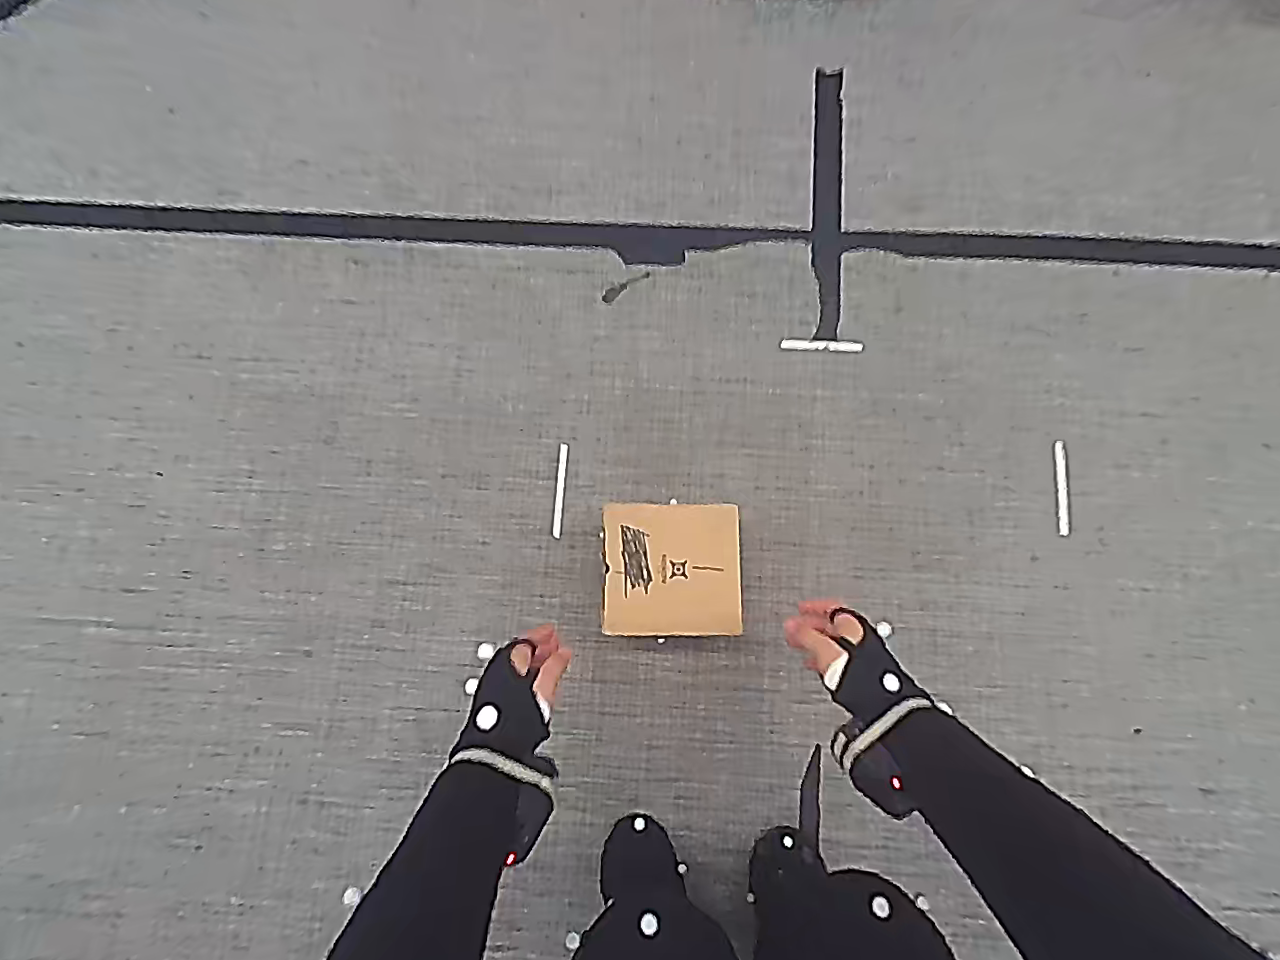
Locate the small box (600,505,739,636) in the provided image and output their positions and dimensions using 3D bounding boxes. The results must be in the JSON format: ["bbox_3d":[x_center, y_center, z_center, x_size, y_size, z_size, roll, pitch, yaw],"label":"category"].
[{"bbox_3d":[0.038,0.128,0.766,0.179,0.176,0.168,0,81,0],"label":"small box"}]
